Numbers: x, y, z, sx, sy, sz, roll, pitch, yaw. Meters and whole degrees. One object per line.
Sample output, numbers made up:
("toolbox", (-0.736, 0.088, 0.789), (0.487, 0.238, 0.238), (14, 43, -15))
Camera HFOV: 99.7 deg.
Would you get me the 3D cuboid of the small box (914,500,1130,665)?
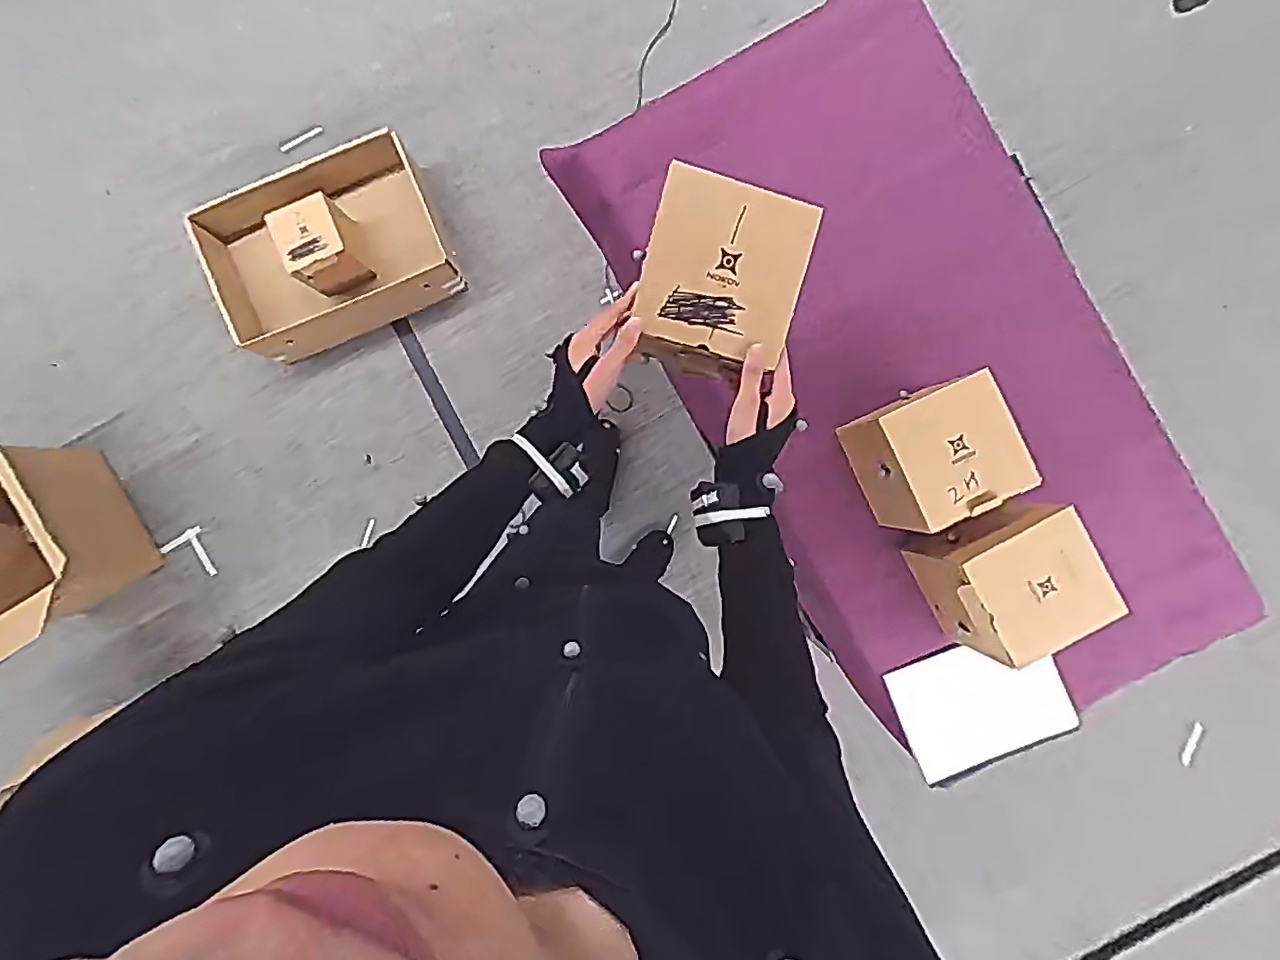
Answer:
("small box", (0.539, 0.139, 0.798), (0.179, 0.176, 0.168), (-27, 90, 0))
